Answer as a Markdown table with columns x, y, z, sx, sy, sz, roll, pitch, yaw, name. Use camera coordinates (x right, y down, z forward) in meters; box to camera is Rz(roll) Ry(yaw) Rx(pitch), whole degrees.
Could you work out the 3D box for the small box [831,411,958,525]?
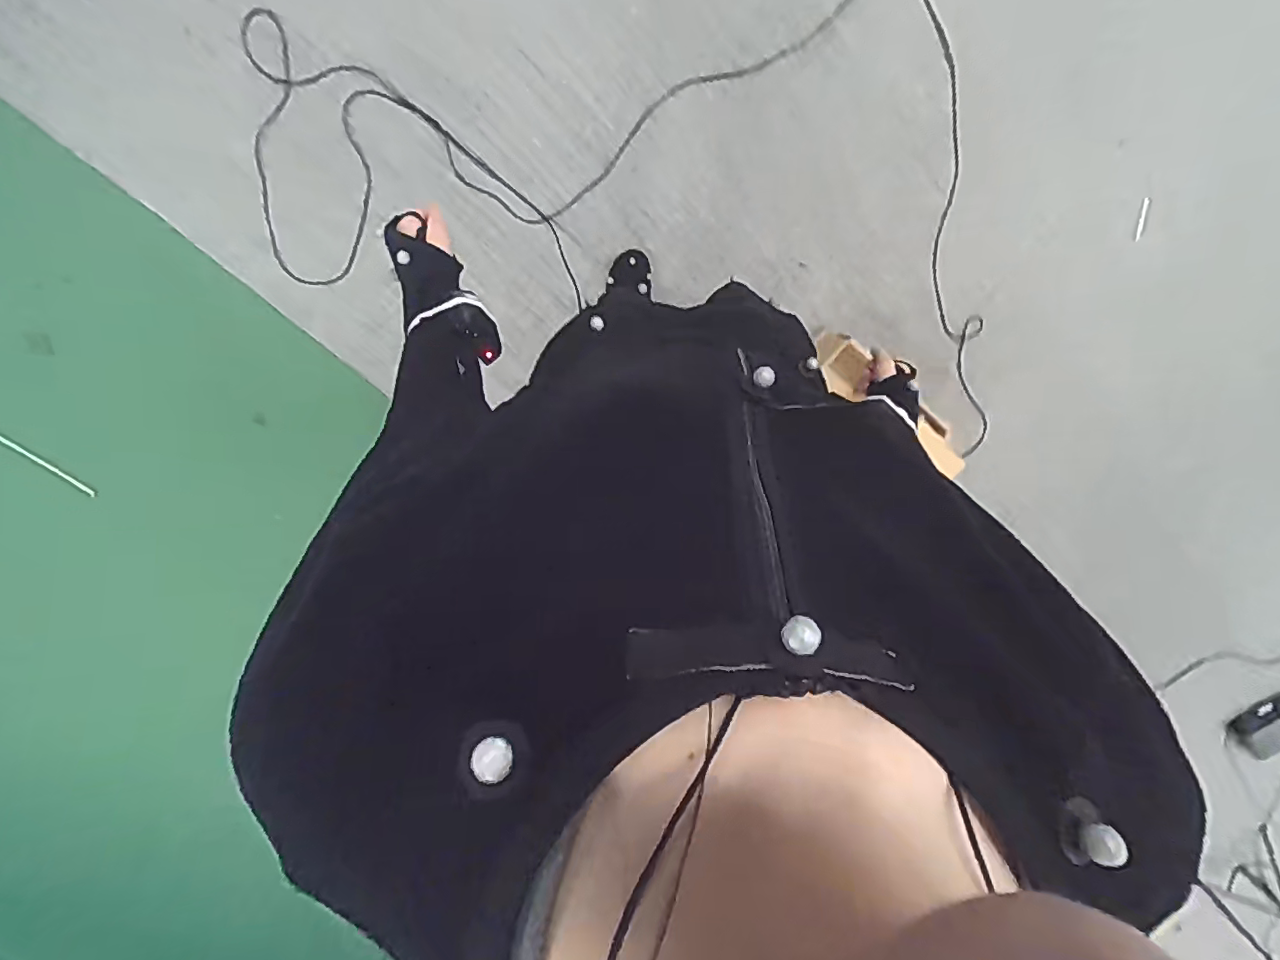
| x | y | z | sx | sy | sz | roll | pitch | yaw | name |
| --- | --- | --- | --- | --- | --- | --- | --- | --- | --- |
| 0.582 | -0.035 | 1.261 | 0.168 | 0.176 | 0.179 | 40 | 106 | -15 | small box |
